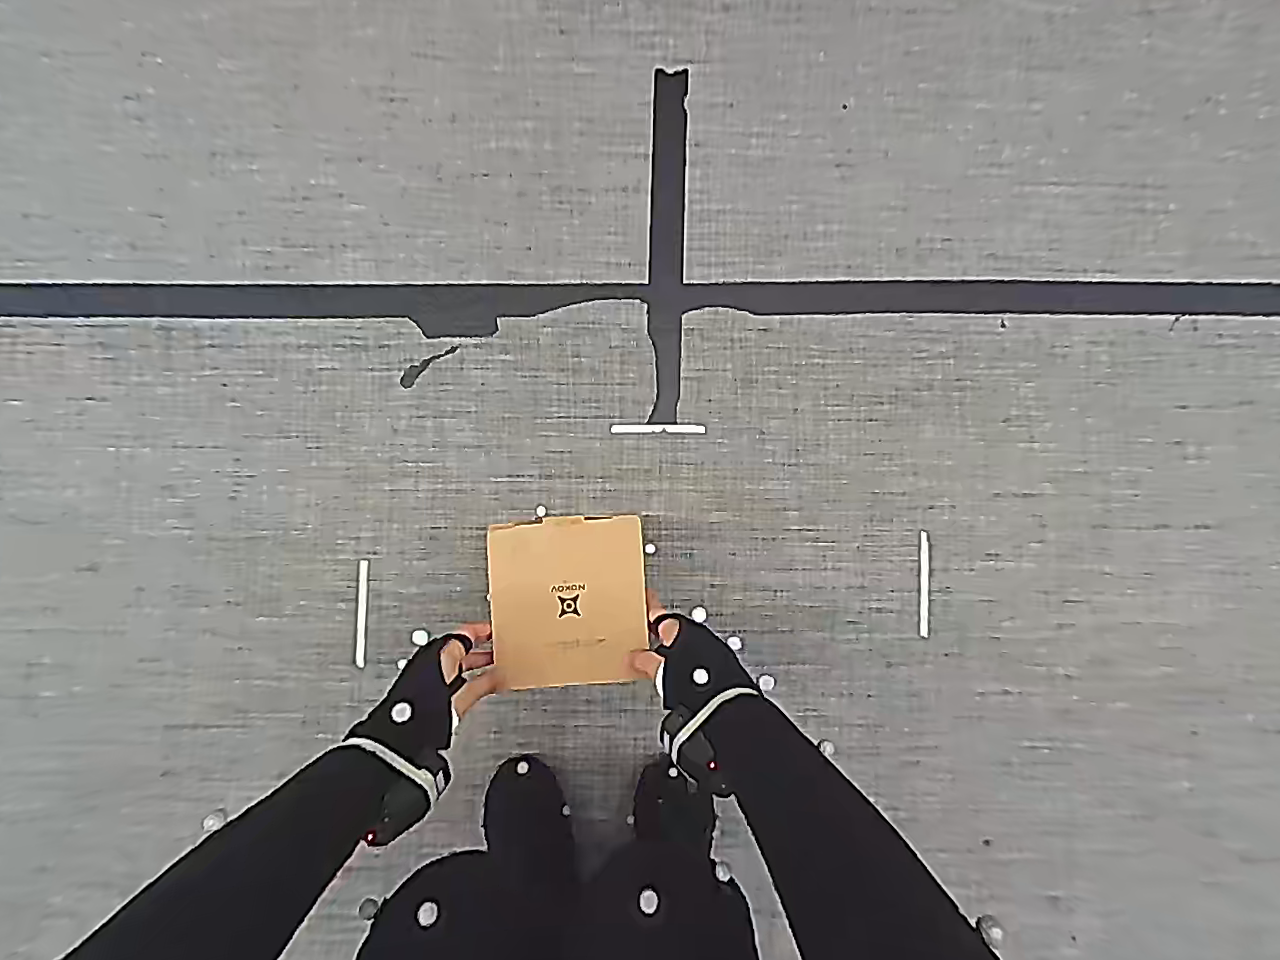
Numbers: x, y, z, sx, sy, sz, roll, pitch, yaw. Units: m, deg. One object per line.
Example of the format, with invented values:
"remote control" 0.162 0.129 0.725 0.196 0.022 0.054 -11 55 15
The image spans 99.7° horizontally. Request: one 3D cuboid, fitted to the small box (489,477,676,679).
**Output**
"small box" -0.055 0.092 0.571 0.168 0.176 0.179 -4 89 -1
